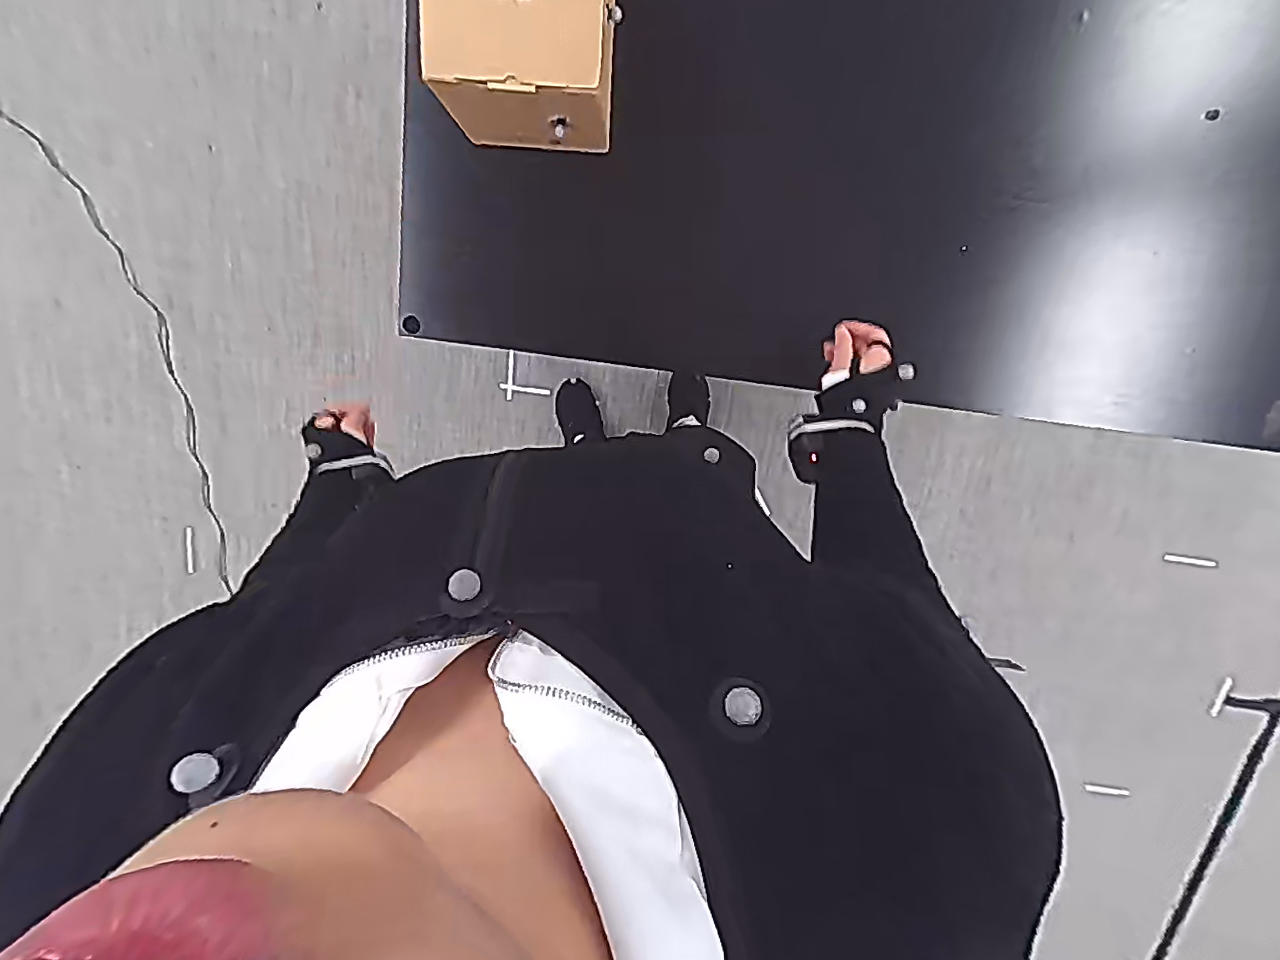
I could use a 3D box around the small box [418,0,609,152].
[{"bbox_3d":[-0.119,-0.466,0.562,0.168,0.176,0.179,3,103,-3],"label":"small box"}]
